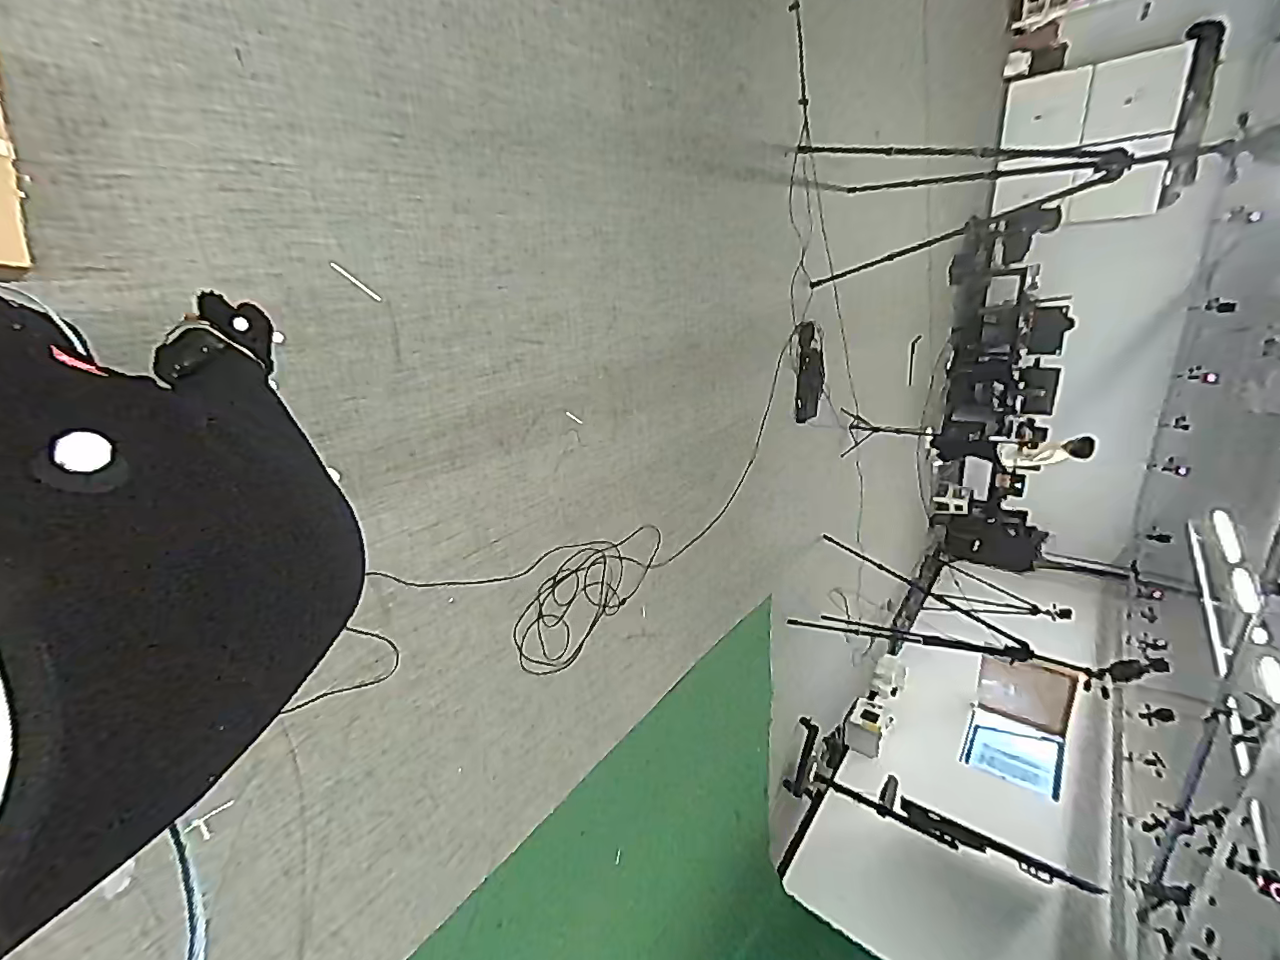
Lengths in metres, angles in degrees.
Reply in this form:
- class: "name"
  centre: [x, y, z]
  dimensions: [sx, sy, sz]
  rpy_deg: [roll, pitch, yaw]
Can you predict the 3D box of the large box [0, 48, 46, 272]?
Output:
- class: "large box"
  centre: [-1.130, -0.470, 0.727]
  dimensions: [0.408, 0.320, 0.320]
  rpy_deg: [-12, 109, -48]
